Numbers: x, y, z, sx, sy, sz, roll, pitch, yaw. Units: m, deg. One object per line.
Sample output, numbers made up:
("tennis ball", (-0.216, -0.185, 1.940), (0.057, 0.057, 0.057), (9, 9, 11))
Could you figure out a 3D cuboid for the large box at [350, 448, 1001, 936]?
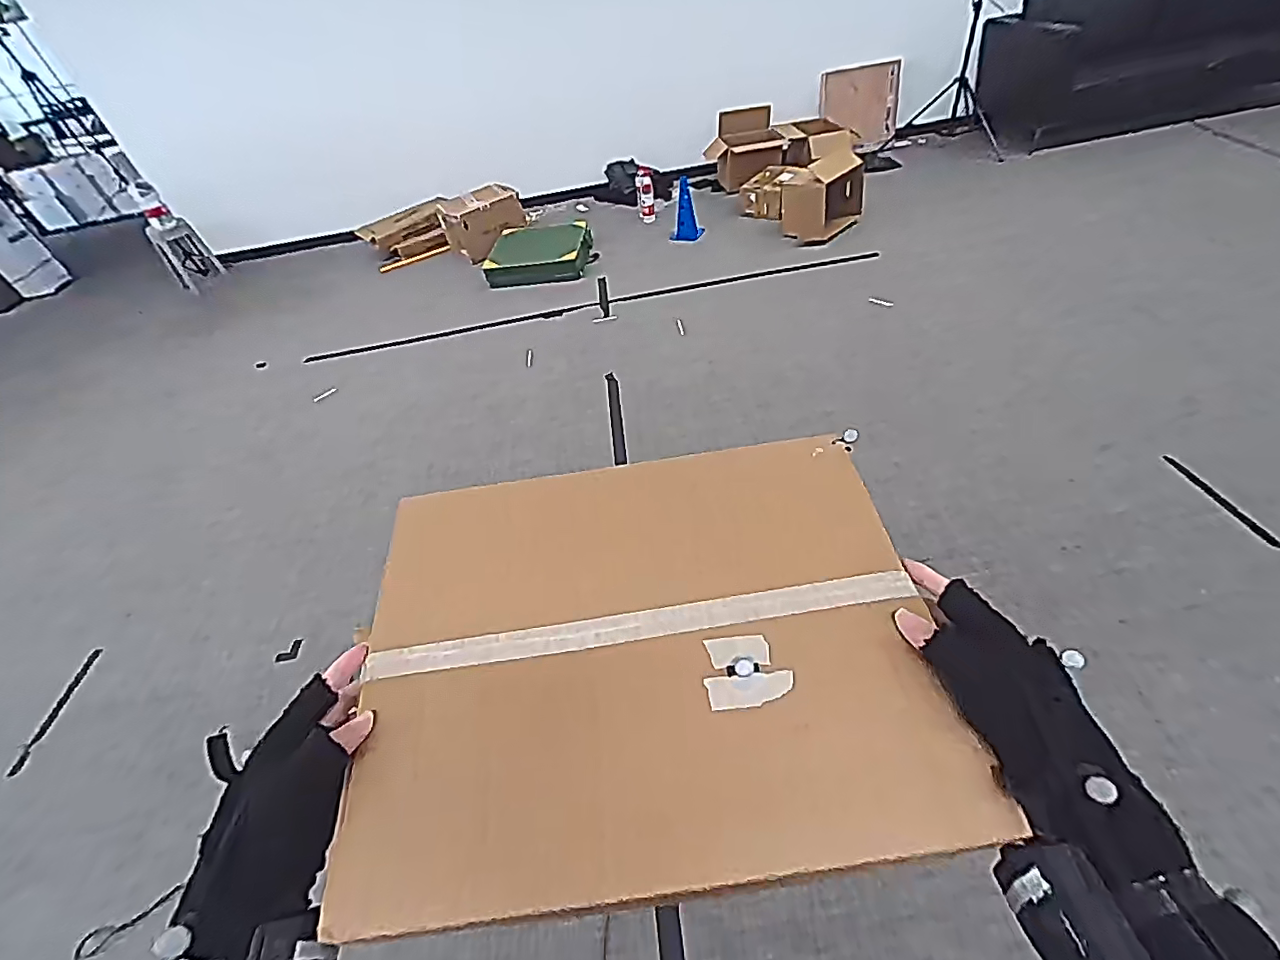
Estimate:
("large box", (0.015, 0.208, 0.527), (0.408, 0.320, 0.320), (-8, 52, -1))
